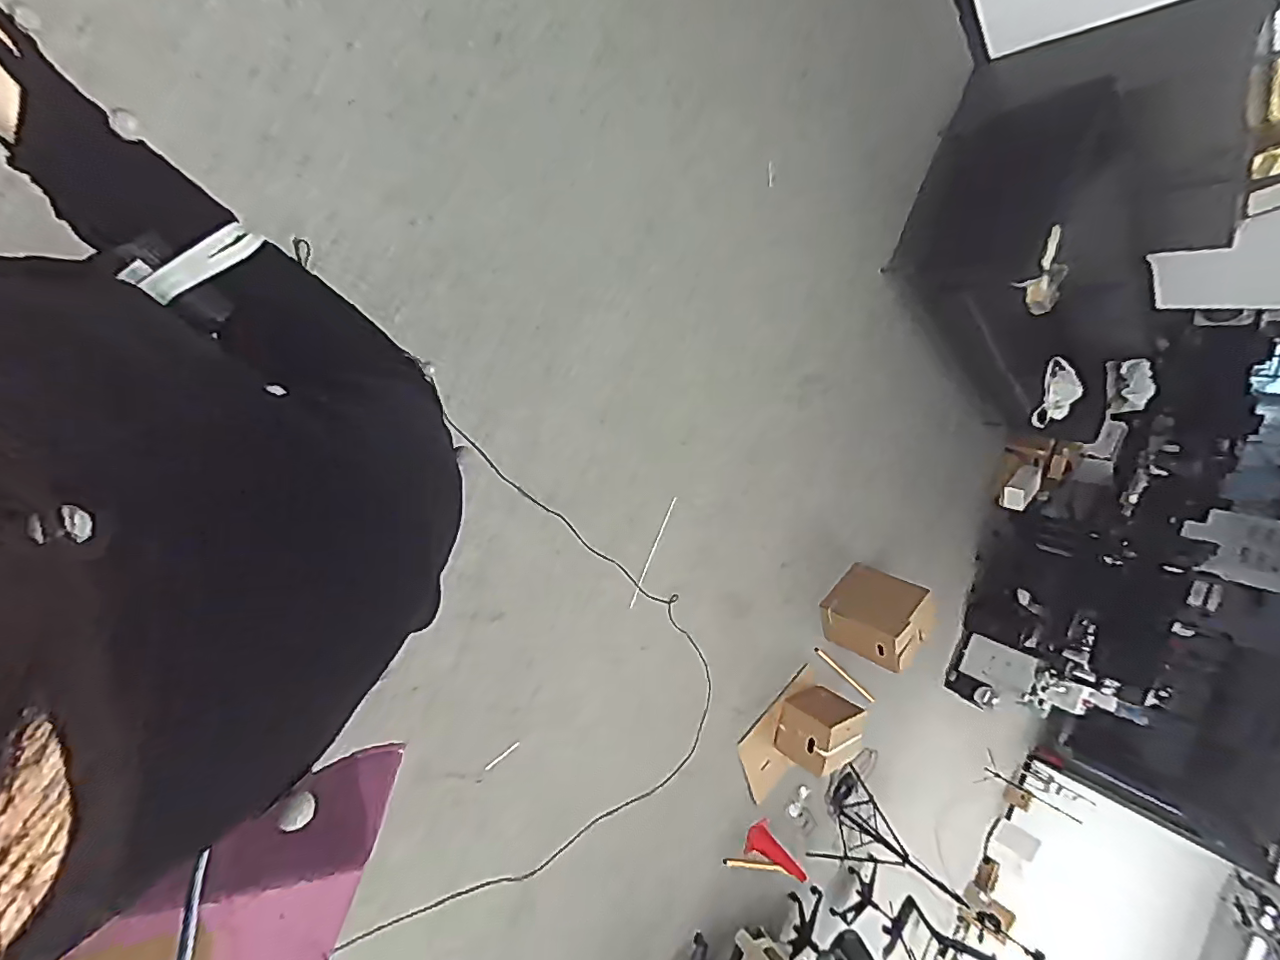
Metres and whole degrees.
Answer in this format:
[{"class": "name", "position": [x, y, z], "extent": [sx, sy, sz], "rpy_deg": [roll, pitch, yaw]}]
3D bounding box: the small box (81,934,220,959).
[{"class": "small box", "position": [-0.618, 0.685, 0.623], "extent": [0.179, 0.176, 0.168], "rpy_deg": [24, 88, -42]}]
